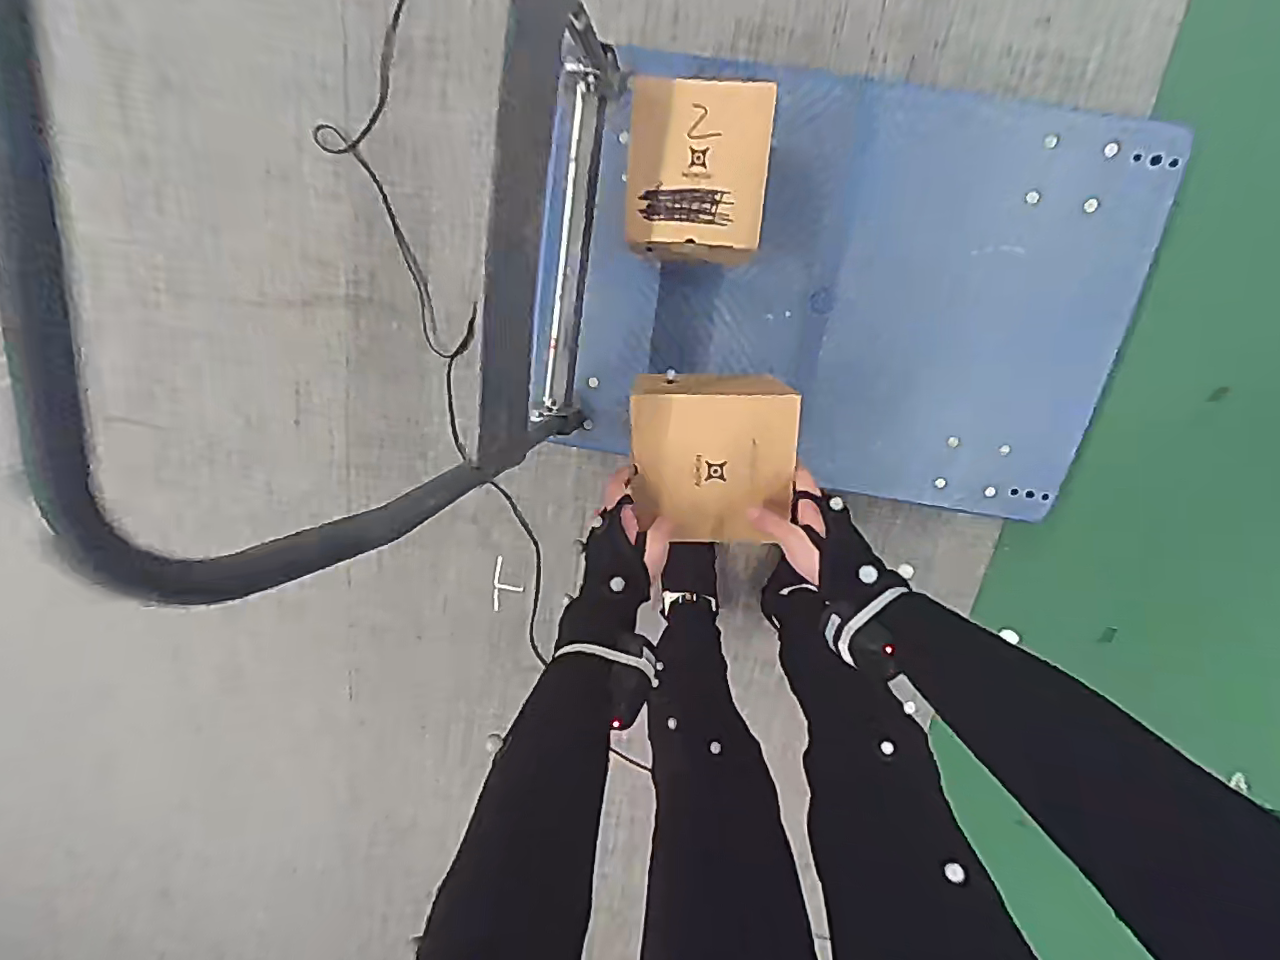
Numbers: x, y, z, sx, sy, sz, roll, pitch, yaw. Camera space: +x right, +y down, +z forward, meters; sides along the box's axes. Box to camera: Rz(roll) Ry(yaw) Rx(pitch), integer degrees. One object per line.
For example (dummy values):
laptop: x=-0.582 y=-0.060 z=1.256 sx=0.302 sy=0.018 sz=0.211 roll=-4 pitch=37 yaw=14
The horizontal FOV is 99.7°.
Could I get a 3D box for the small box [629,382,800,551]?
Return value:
small box: x=0.081 y=-0.025 z=0.657 sx=0.179 sy=0.176 sz=0.168 roll=1 pitch=107 yaw=2
